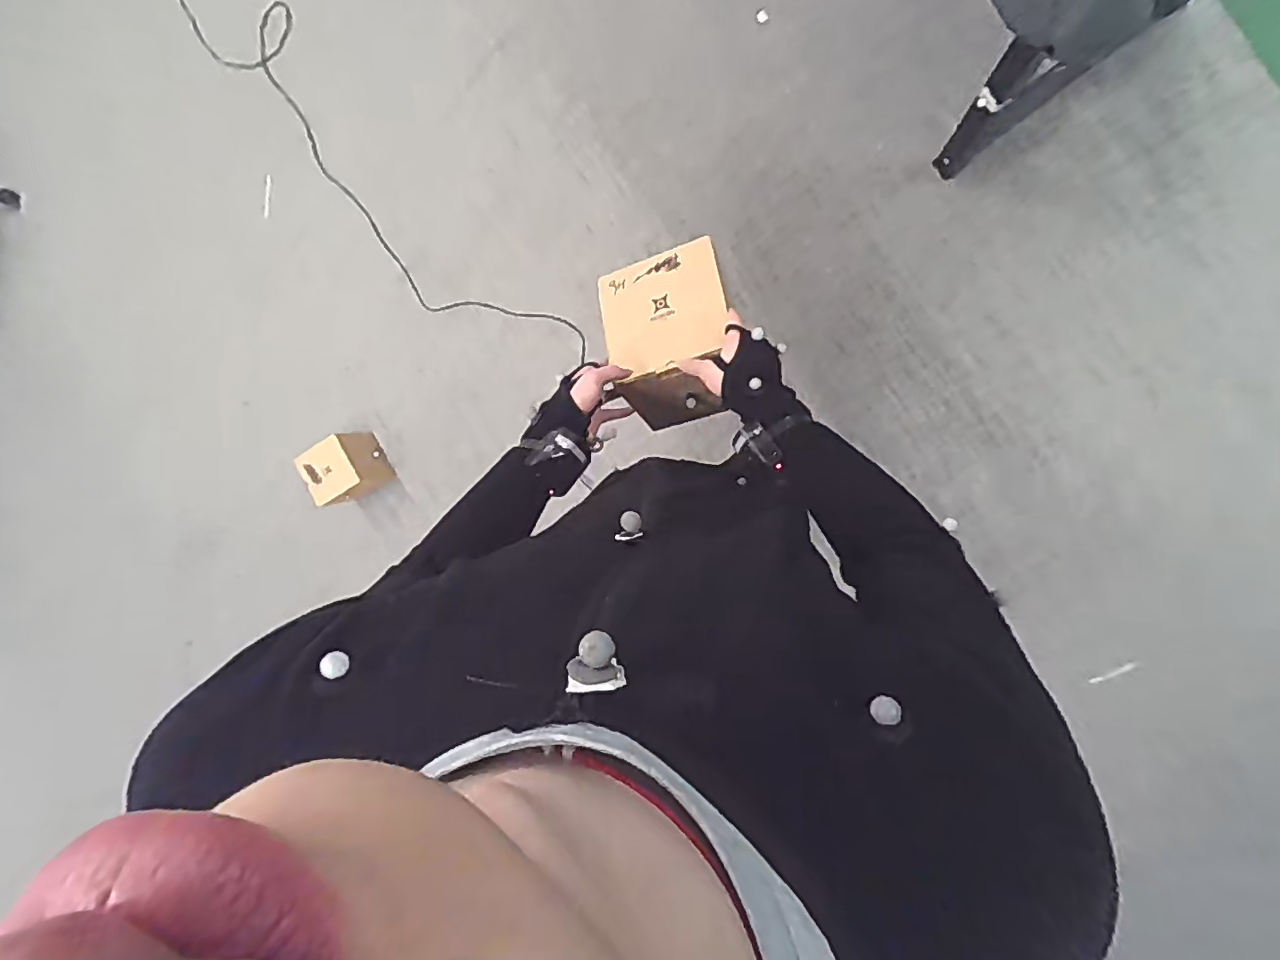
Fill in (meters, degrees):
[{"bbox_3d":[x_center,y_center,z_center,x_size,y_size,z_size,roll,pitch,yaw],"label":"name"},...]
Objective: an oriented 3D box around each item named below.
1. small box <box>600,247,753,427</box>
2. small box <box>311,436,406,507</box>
[{"bbox_3d":[0.059,-0.191,0.787,0.168,0.176,0.179,-15,69,18],"label":"small box"},{"bbox_3d":[-0.896,-0.030,1.737,0.179,0.176,0.168,-28,89,14],"label":"small box"}]
